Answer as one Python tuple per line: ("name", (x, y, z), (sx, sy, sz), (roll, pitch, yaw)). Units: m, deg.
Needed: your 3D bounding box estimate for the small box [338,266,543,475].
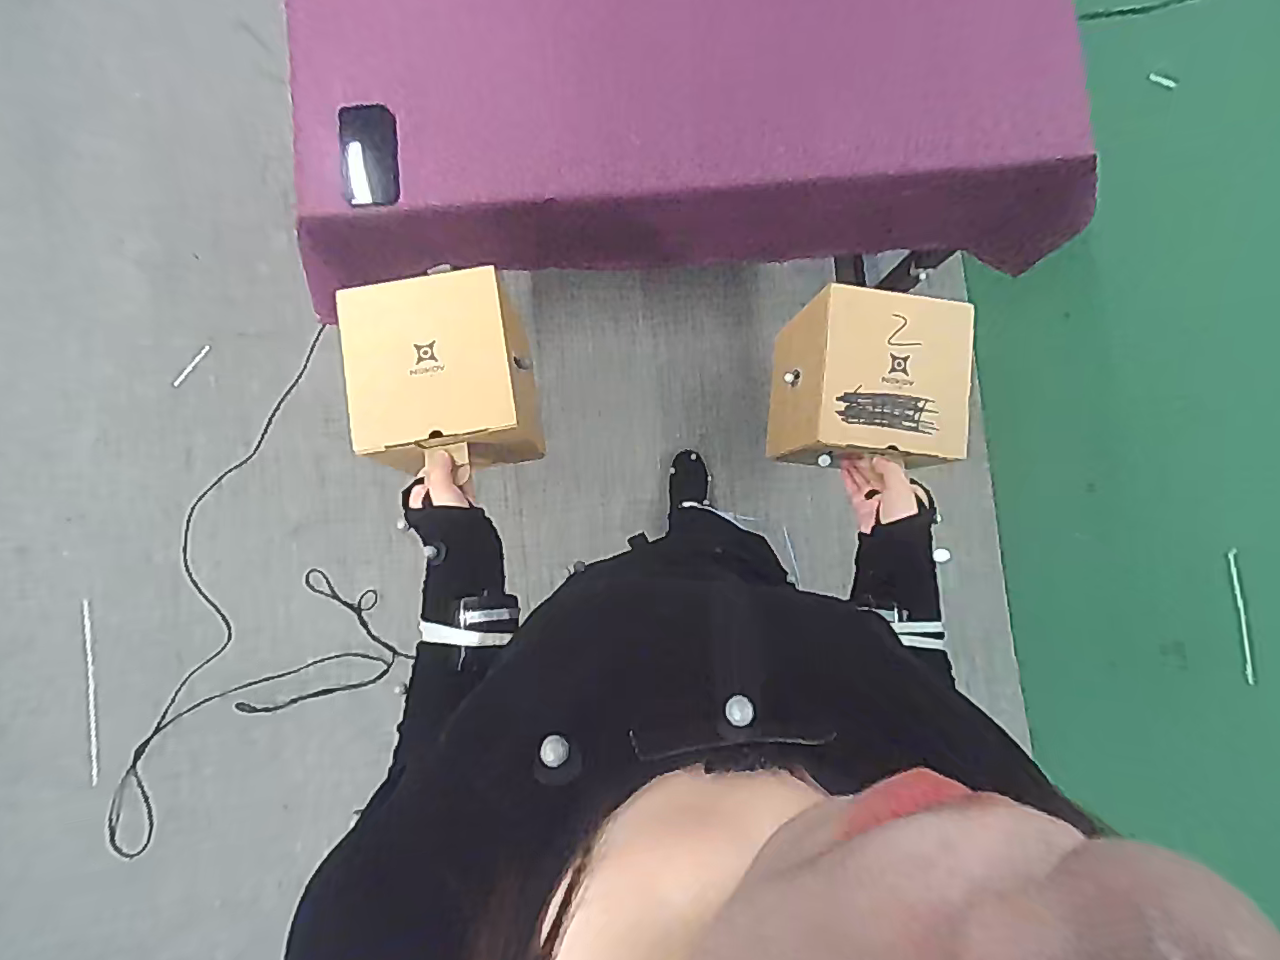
("small box", (-0.215, -0.113, 0.621), (0.168, 0.176, 0.179), (-10, 83, -2))
